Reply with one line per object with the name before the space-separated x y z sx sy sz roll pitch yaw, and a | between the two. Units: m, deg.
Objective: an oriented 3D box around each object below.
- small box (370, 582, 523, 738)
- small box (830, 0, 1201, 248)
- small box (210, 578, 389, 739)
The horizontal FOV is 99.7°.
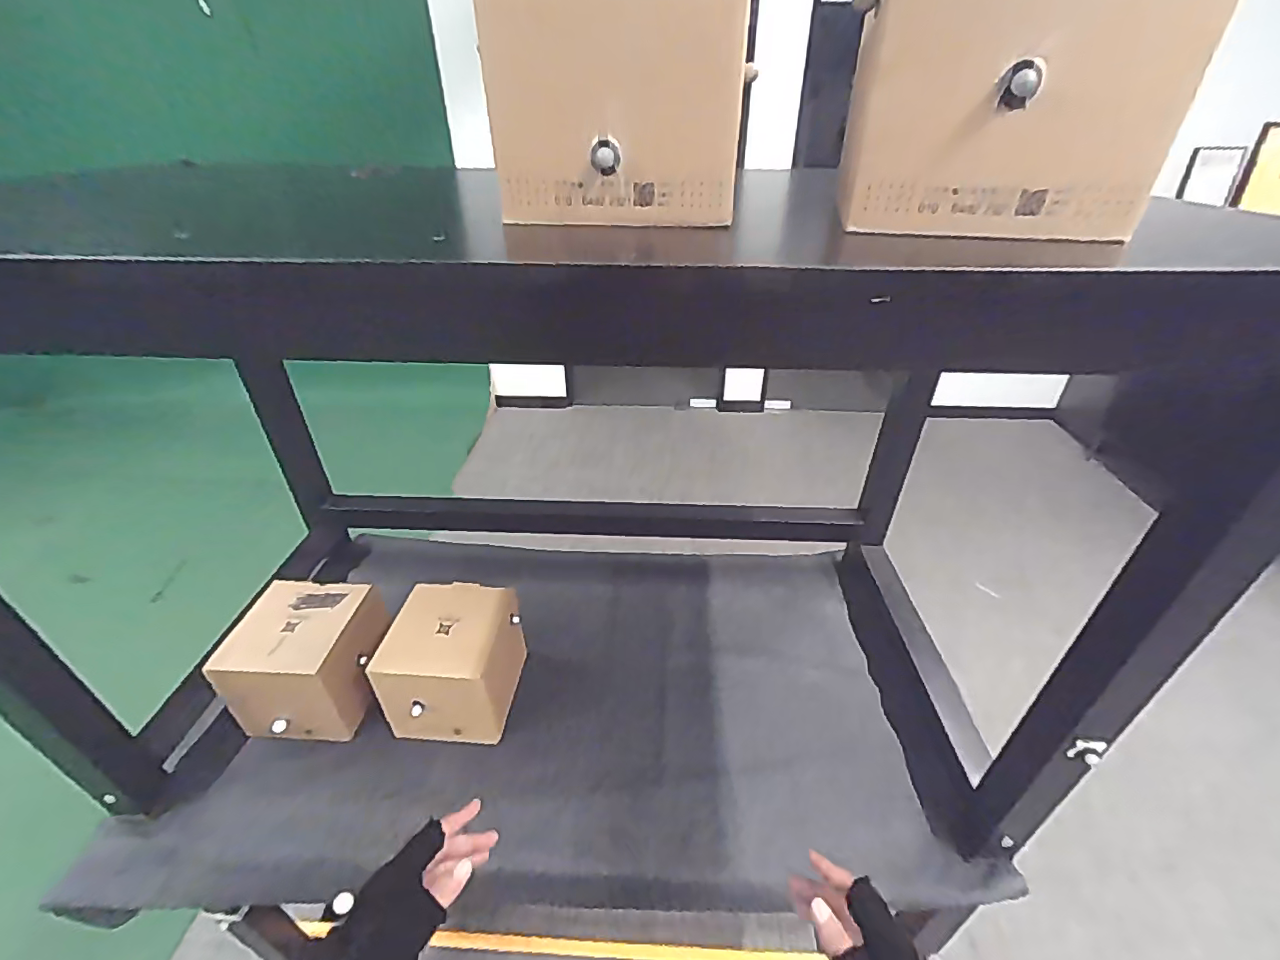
small box | -0.293 0.287 0.866 0.168 0.176 0.179 3 33 3
small box | 0.235 -0.267 0.379 0.168 0.176 0.179 8 34 12
small box | -0.520 0.282 0.867 0.168 0.176 0.179 2 34 2
